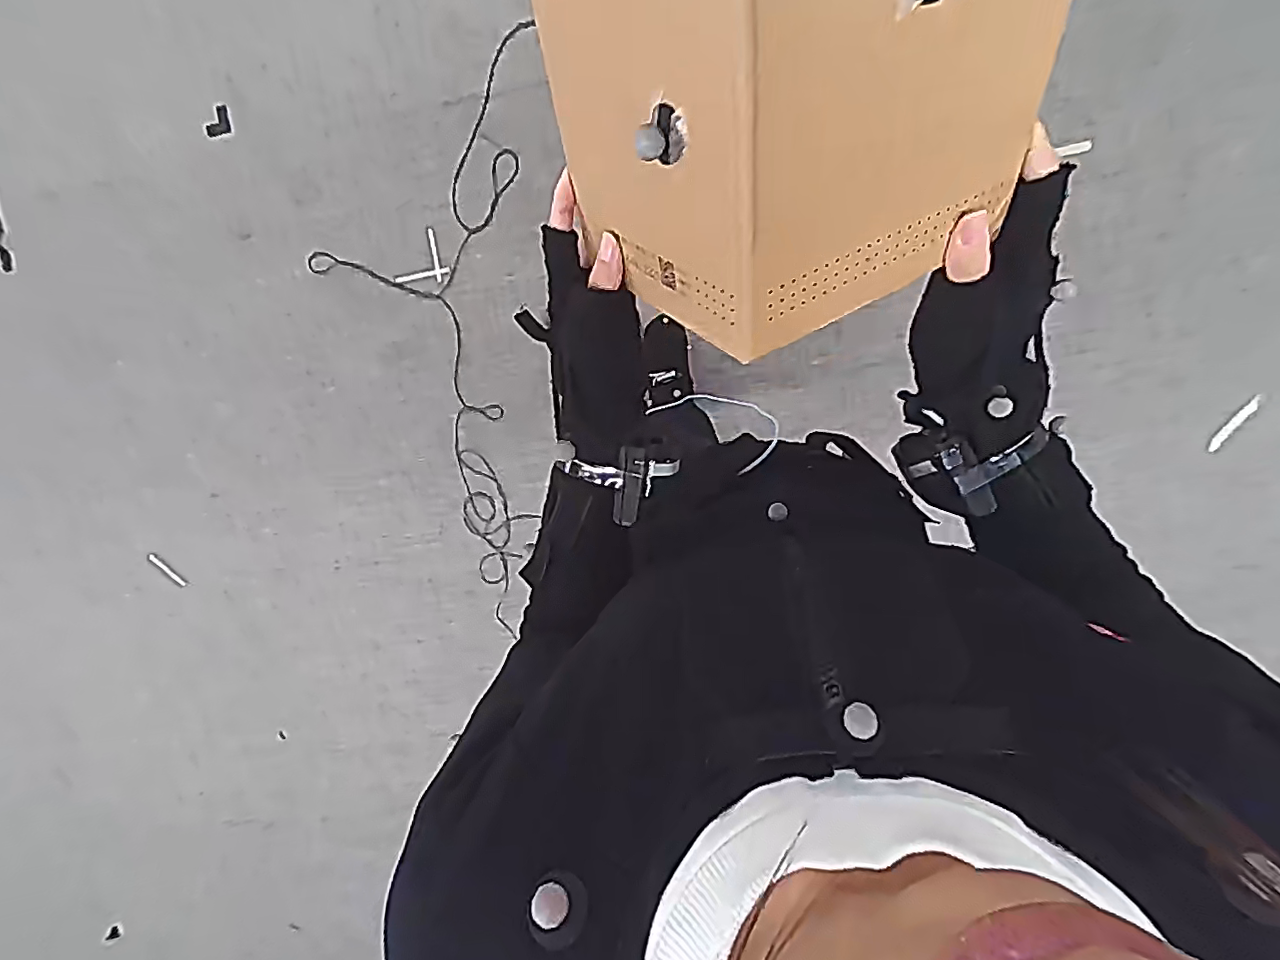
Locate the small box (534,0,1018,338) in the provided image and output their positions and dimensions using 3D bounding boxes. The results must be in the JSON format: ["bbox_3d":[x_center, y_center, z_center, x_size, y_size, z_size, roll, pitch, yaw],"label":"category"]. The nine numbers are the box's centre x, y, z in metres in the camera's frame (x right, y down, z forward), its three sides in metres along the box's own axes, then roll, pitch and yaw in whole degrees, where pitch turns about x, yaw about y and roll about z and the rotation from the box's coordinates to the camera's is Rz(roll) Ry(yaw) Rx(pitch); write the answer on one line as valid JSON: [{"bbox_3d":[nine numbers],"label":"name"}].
[{"bbox_3d":[0.068,-0.200,0.286,0.179,0.168,0.176,-28,137,-16],"label":"small box"}]
